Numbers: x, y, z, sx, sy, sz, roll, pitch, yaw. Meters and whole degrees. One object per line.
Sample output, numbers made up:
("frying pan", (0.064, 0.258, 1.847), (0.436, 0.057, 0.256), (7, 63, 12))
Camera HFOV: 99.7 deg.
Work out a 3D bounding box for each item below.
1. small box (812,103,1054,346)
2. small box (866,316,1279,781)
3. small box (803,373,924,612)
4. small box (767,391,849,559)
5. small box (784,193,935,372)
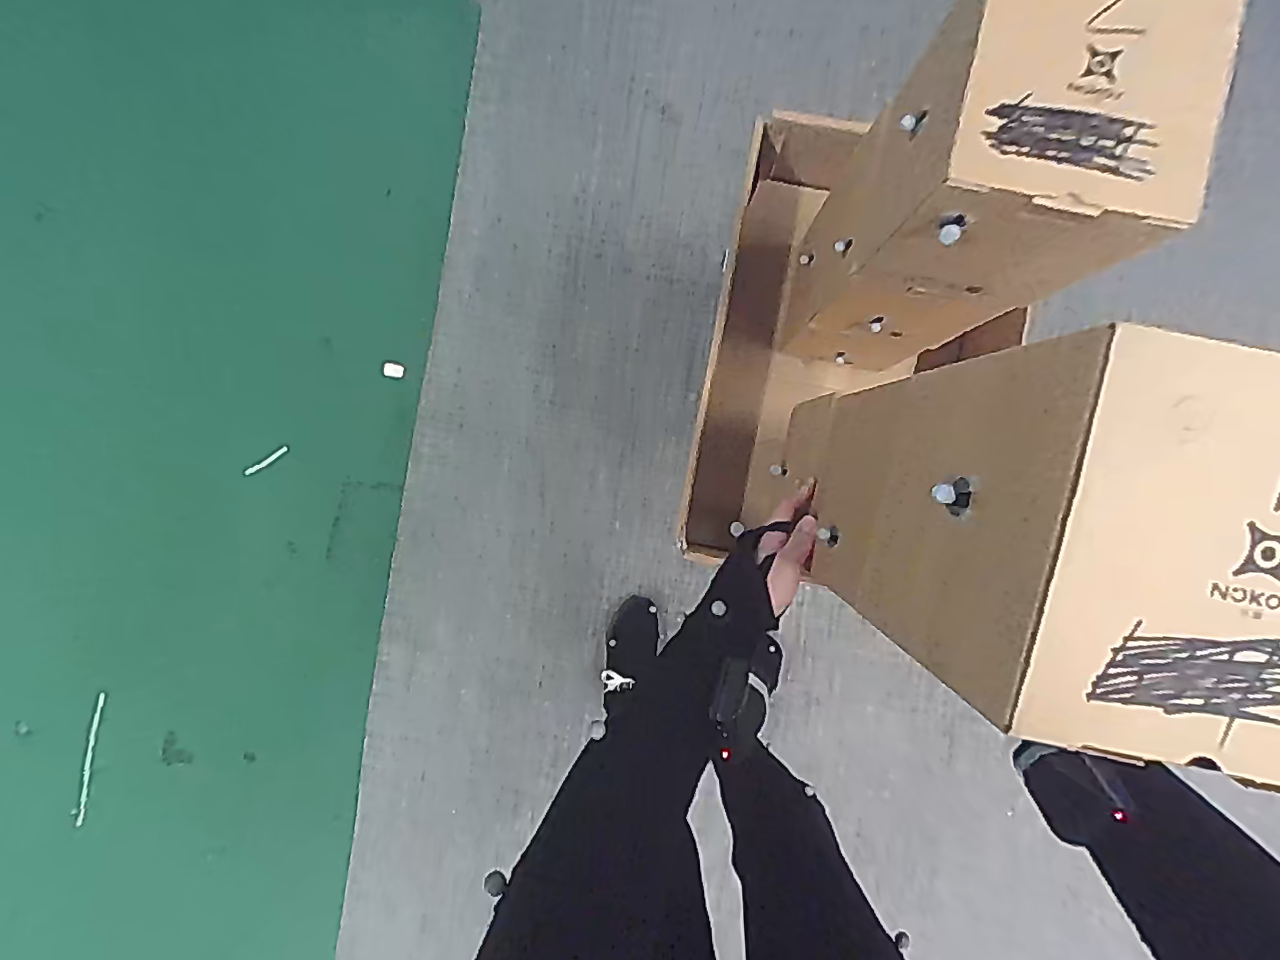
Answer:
("small box", (0.306, -0.266, 0.603), (0.168, 0.176, 0.179), (11, 91, 2))
("small box", (0.249, 0.029, 0.304), (0.168, 0.176, 0.179), (12, 93, 0))
("small box", (0.255, 0.021, 0.468), (0.168, 0.176, 0.179), (13, 93, 1))
("small box", (0.257, 0.006, 0.630), (0.168, 0.176, 0.179), (13, 94, 1))
("small box", (0.313, -0.268, 0.765), (0.168, 0.176, 0.179), (12, 90, 3))
